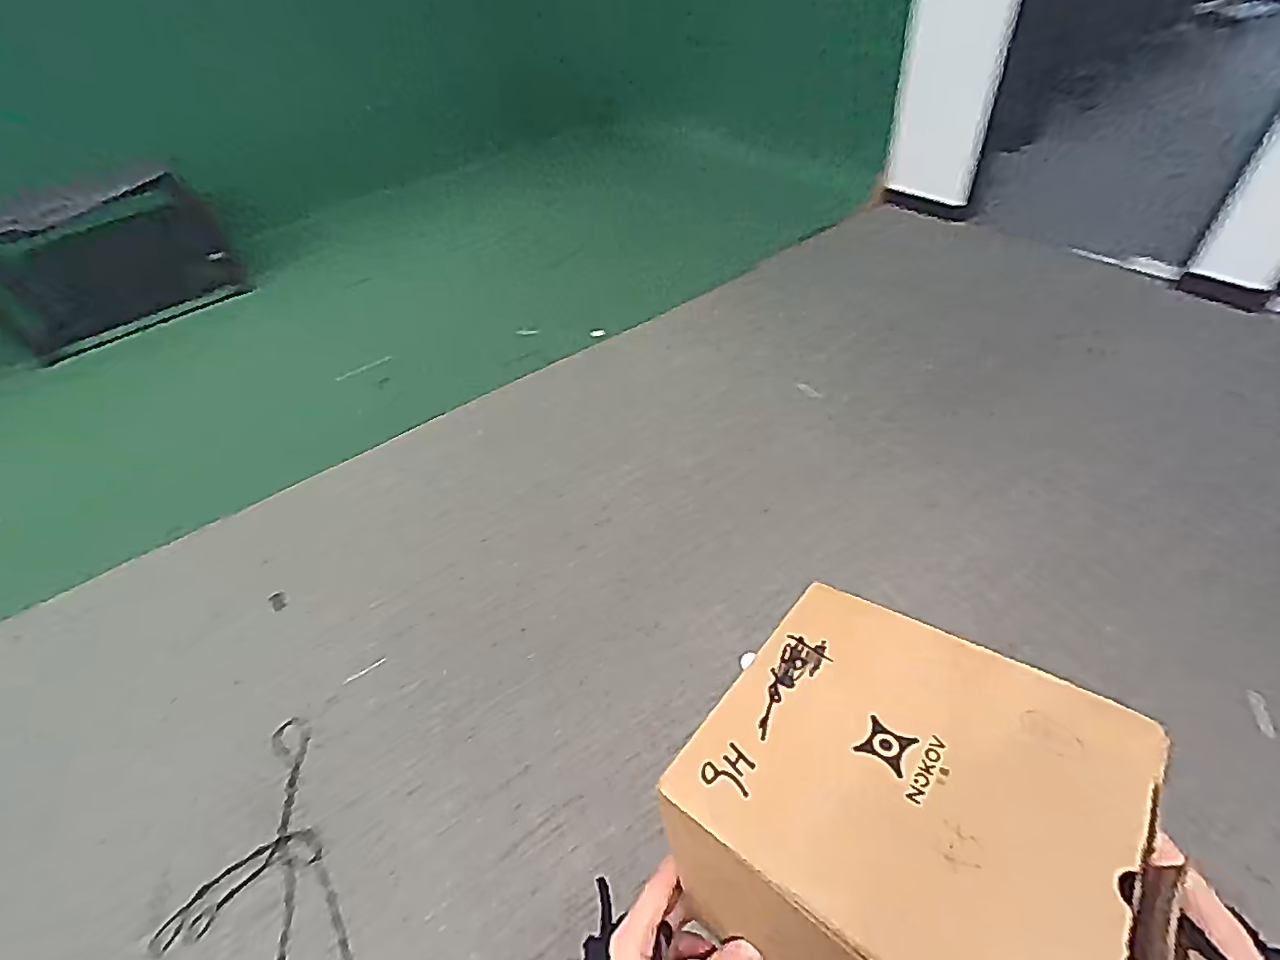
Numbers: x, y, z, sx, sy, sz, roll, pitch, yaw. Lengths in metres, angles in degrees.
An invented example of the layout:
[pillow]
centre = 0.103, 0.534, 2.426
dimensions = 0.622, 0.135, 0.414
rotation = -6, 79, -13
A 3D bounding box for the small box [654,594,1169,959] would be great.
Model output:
[small box]
centre = 0.133, 0.204, 0.299
dimensions = 0.179, 0.176, 0.168
rotation = 22, 45, 38
